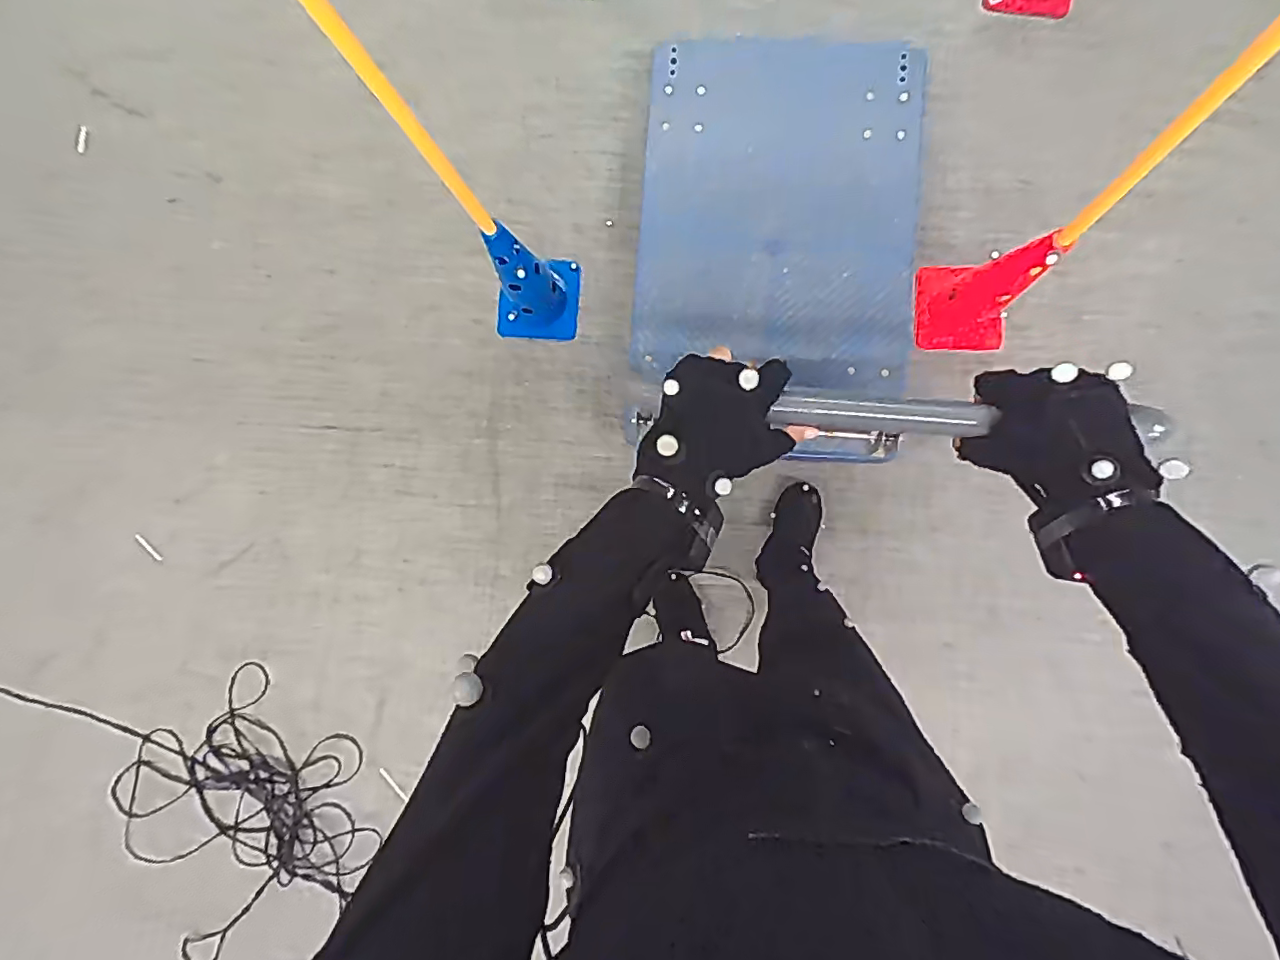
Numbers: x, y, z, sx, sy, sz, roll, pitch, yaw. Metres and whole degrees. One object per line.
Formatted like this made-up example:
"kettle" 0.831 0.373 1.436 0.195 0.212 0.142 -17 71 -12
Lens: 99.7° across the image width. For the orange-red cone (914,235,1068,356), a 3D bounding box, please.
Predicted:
"orange-red cone" 0.742 -0.402 1.119 0.199 0.360 0.198 4 88 5
